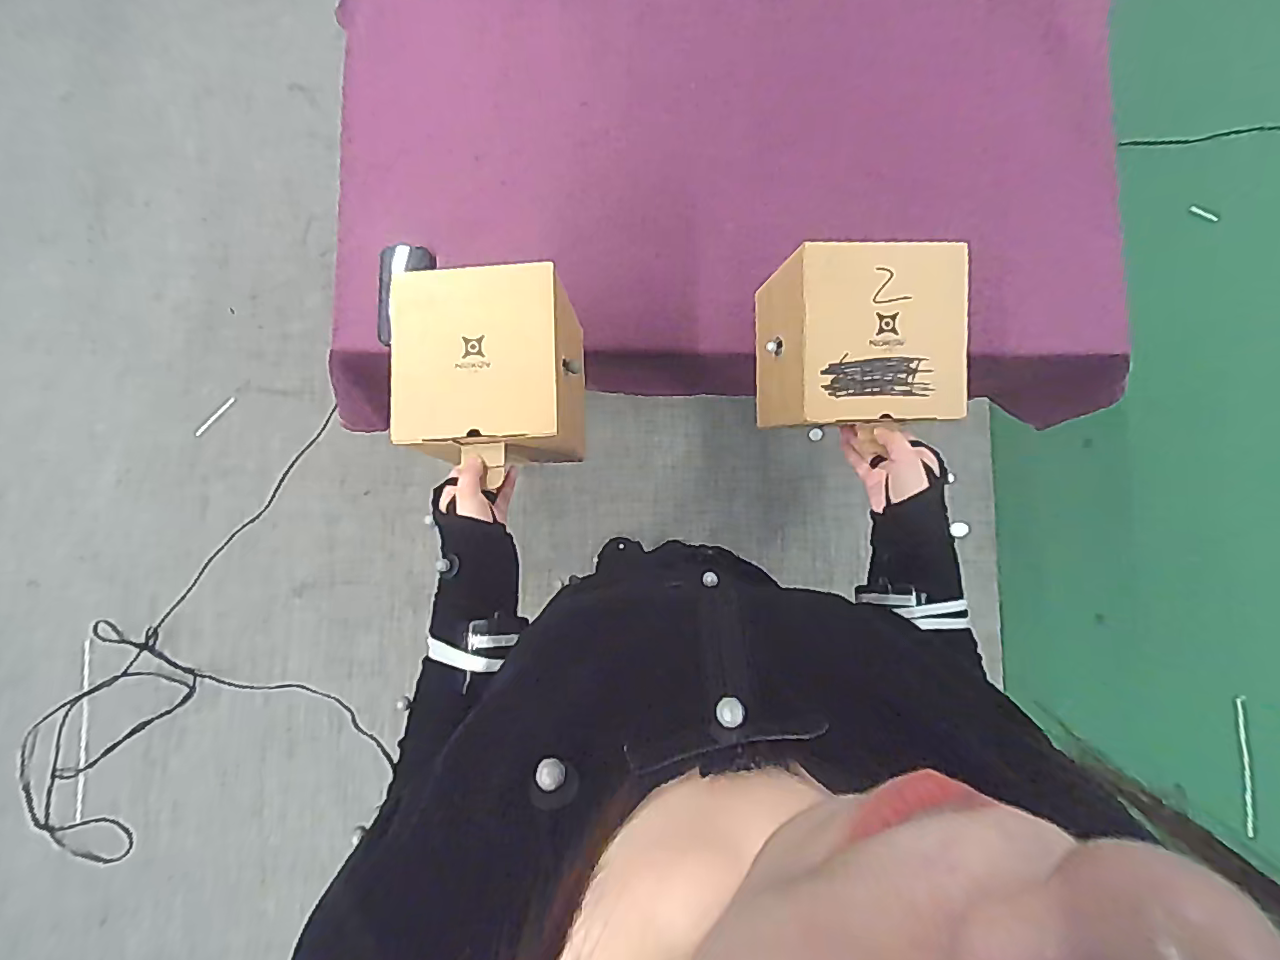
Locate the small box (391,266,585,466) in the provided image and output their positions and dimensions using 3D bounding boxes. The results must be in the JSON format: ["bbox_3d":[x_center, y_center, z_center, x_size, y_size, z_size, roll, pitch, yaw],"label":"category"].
[{"bbox_3d":[-0.156,-0.115,0.604,0.168,0.176,0.179,-2,84,2],"label":"small box"}]
